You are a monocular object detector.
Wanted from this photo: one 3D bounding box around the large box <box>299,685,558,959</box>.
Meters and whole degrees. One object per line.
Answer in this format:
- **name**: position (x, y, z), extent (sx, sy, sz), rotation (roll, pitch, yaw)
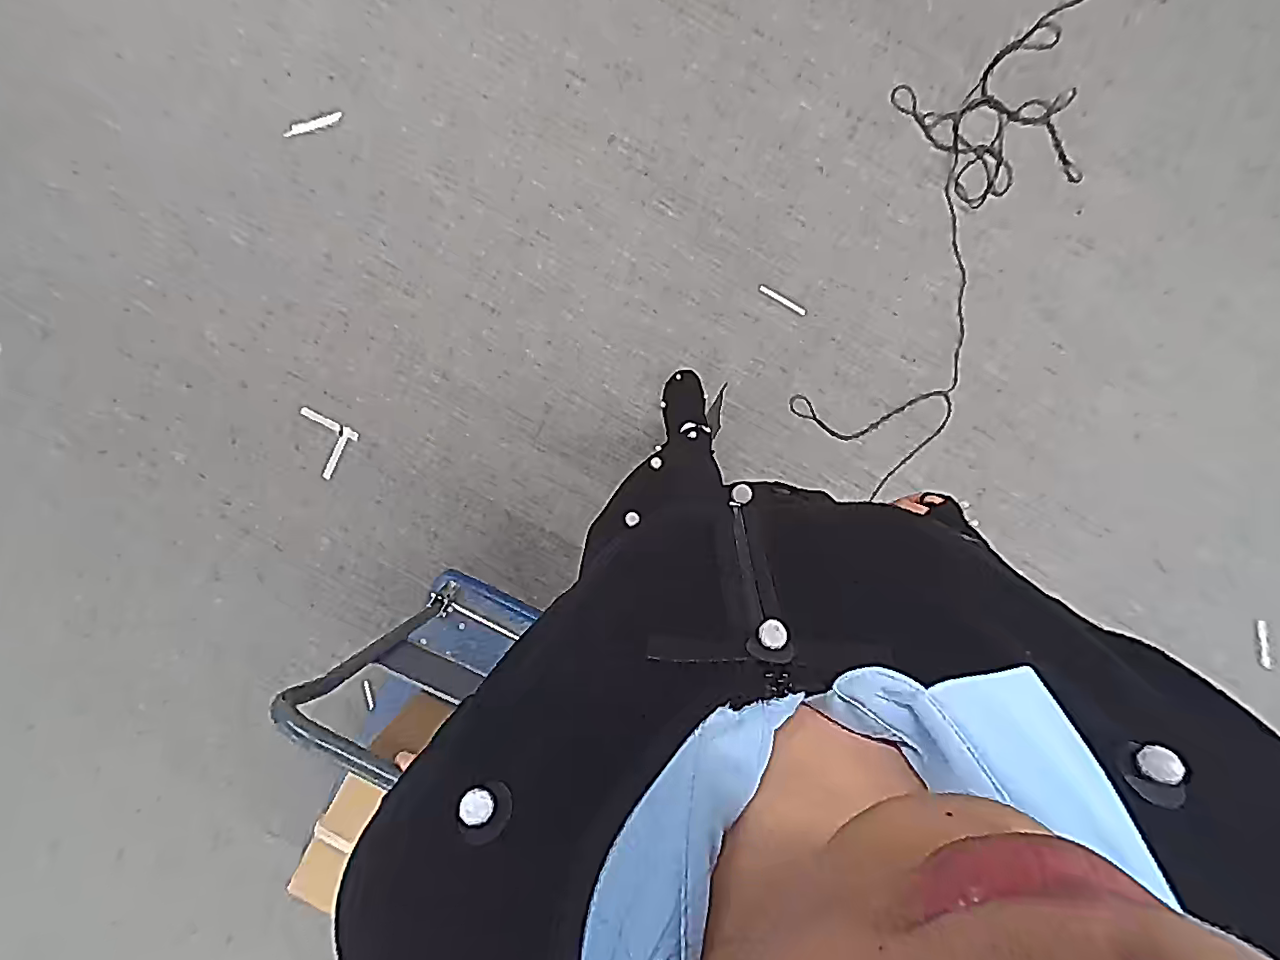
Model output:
- **large box**: position (-0.450, 0.748, 1.239), extent (0.408, 0.320, 0.320), rotation (29, 95, -2)
